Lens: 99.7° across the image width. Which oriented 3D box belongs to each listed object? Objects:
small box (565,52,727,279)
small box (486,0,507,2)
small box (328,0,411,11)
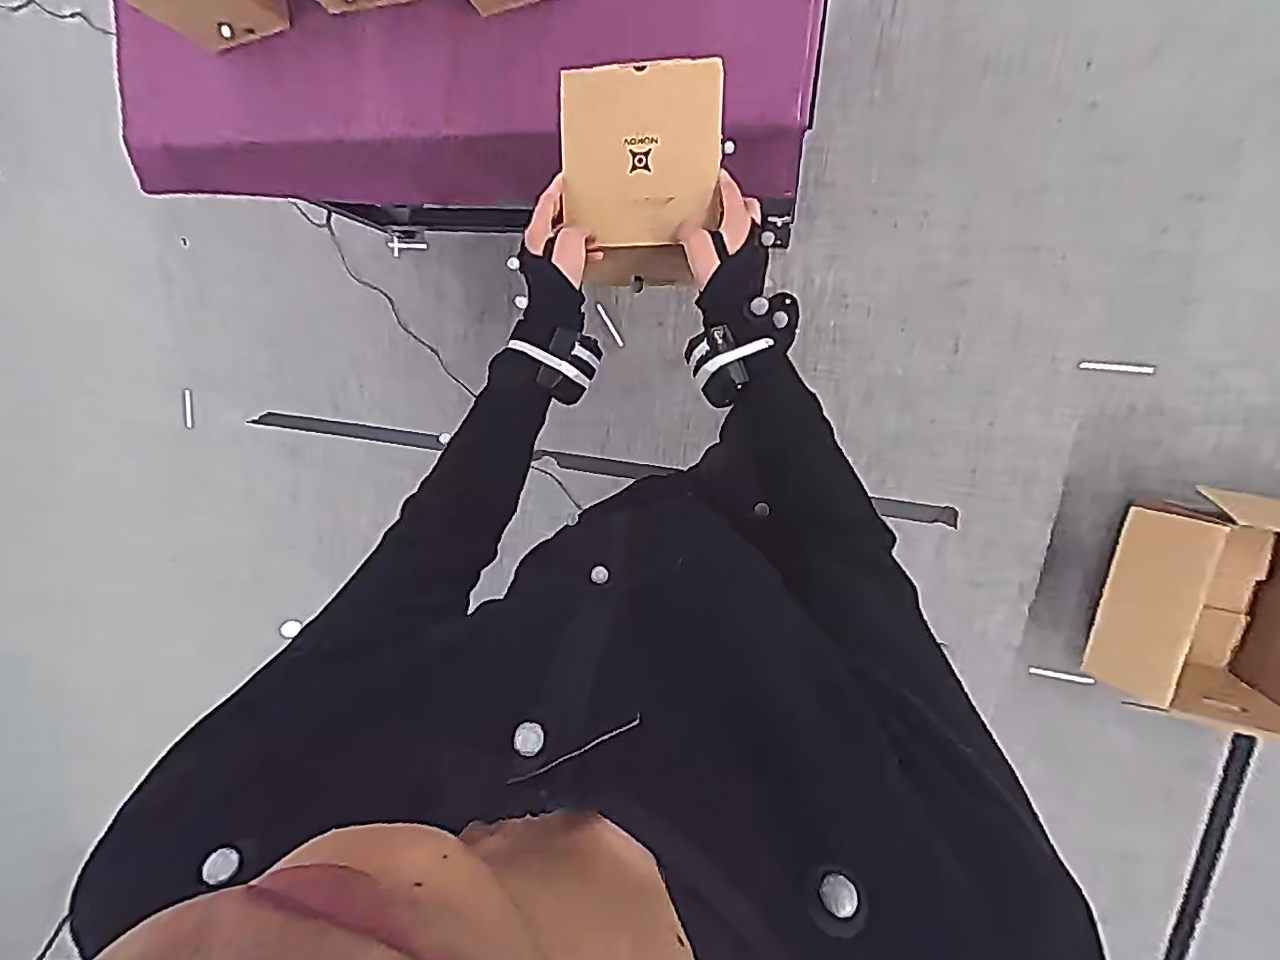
[{"bbox_3d":[0.013,-0.349,0.632,0.168,0.176,0.179,1,95,7],"label":"small box"},{"bbox_3d":[-0.180,-0.759,0.685,0.168,0.176,0.179,-2,99,14],"label":"small box"},{"bbox_3d":[-0.425,-0.802,0.739,0.168,0.176,0.179,3,101,13],"label":"small box"}]
